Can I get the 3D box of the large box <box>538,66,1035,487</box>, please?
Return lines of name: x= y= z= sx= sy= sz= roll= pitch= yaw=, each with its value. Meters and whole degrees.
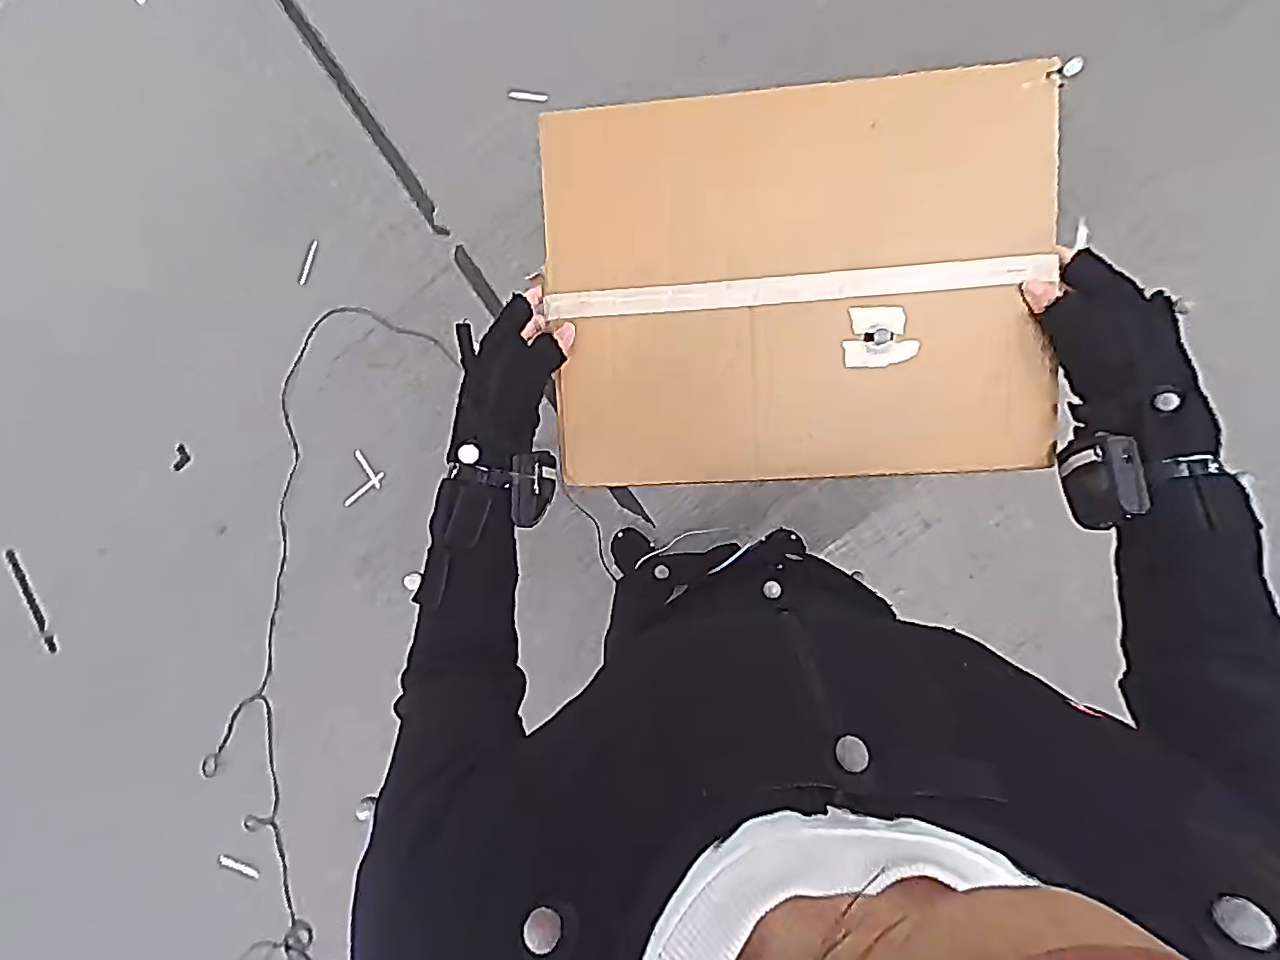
large box: x=0.131 y=-0.173 z=0.603 sx=0.408 sy=0.320 sz=0.320 roll=-4 pitch=95 yaw=5
